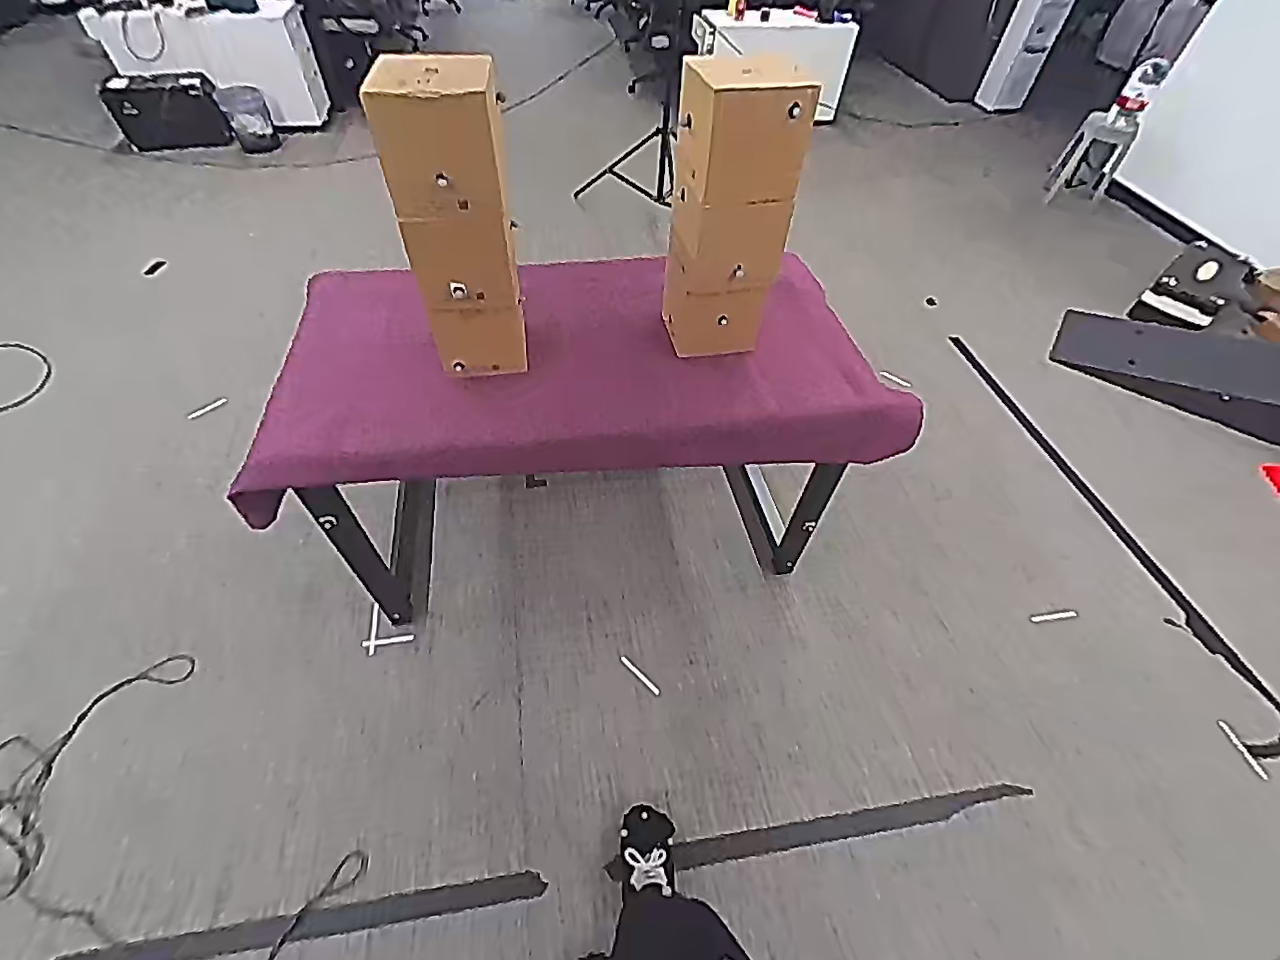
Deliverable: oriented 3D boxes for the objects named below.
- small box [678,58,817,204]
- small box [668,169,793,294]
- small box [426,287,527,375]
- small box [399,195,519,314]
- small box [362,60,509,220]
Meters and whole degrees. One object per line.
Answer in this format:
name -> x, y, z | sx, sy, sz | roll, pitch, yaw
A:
small box -> 0.167, -0.587, 0.915 | 0.179, 0.176, 0.168 | -10, 52, -10
small box -> 0.163, -0.478, 1.037 | 0.179, 0.176, 0.168 | -10, 52, -11
small box -> -0.323, -0.326, 1.097 | 0.168, 0.176, 0.179 | -6, 51, -8
small box -> -0.311, -0.419, 0.964 | 0.168, 0.176, 0.179 | -6, 53, -7
small box -> -0.301, -0.524, 0.837 | 0.168, 0.176, 0.179 | -5, 51, -6
